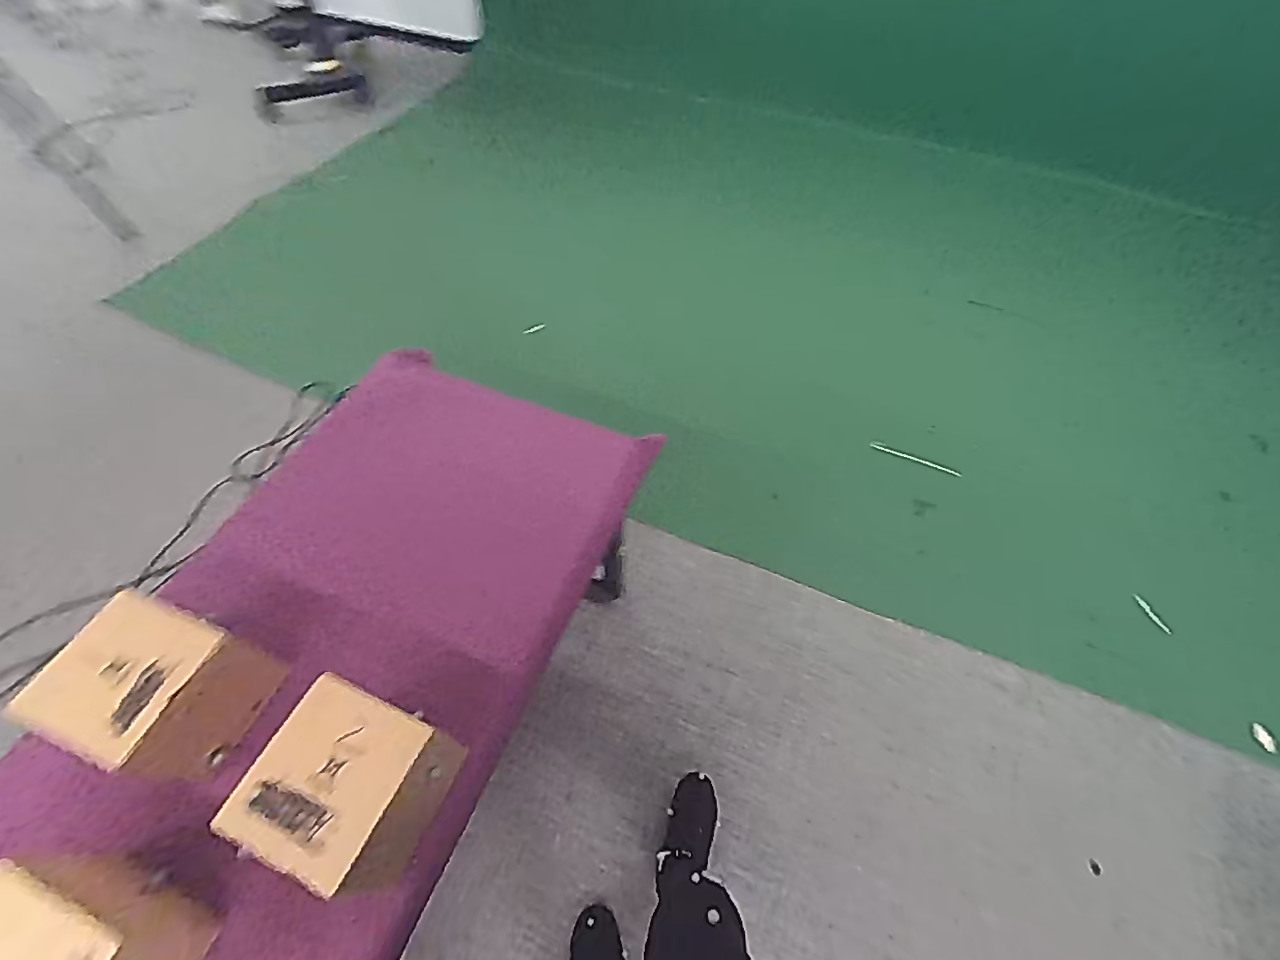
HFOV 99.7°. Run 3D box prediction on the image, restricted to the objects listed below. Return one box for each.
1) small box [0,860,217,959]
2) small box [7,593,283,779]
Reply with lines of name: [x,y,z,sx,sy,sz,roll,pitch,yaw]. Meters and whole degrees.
small box: [-0.610,0.524,0.558,0.179,0.176,0.168,19,58,11]
small box: [-0.636,0.282,0.726,0.179,0.176,0.168,18,57,11]
